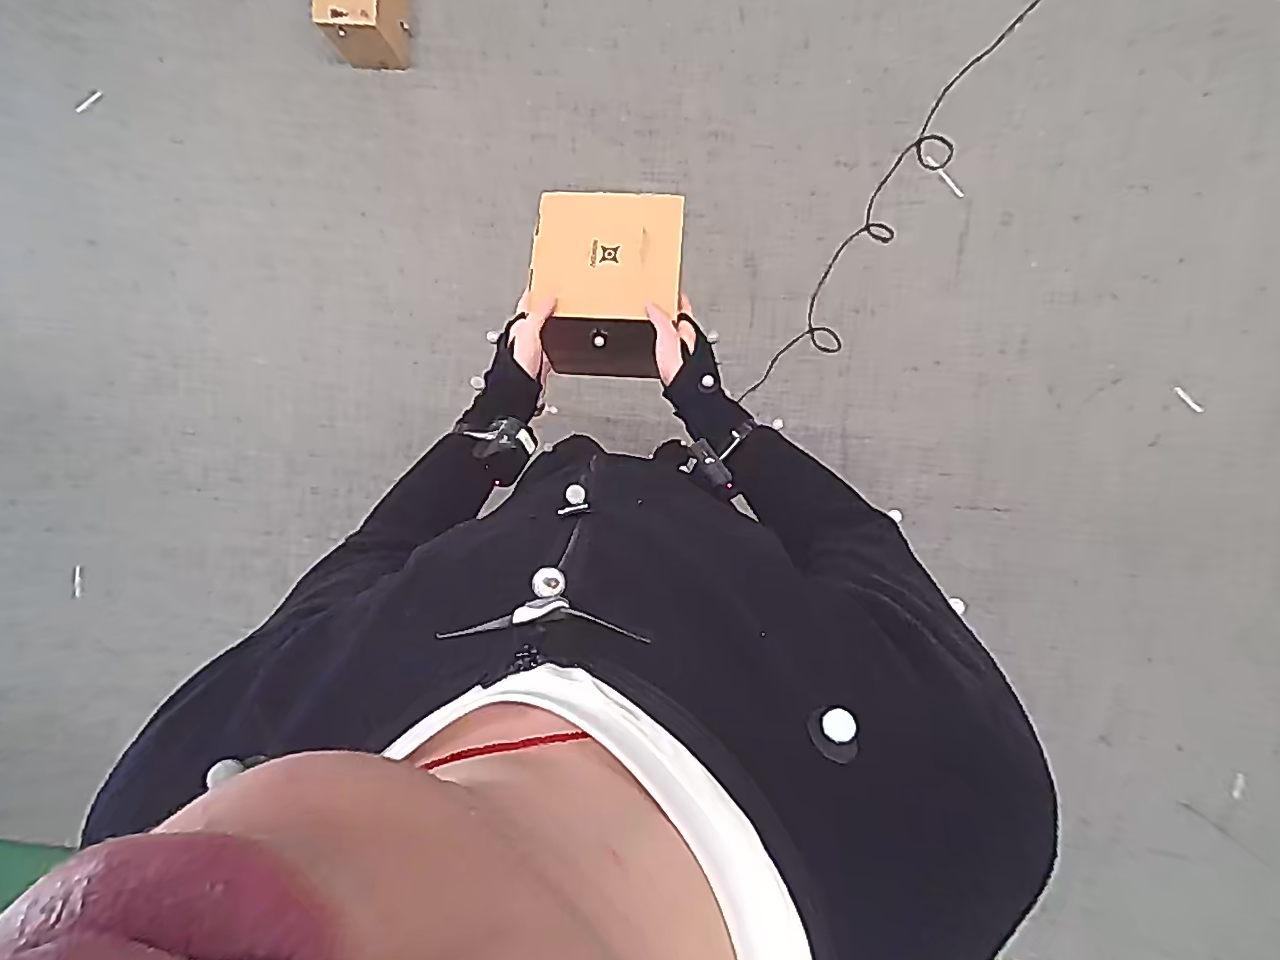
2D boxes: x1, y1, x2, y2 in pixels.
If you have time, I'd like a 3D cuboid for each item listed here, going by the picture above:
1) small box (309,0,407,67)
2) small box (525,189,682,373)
[{"bbox_3d":[-0.726,-1.230,1.410,0.168,0.176,0.179,6,95,3],"label":"small box"},{"bbox_3d":[-0.037,-0.250,0.708,0.179,0.176,0.168,2,78,2],"label":"small box"}]
